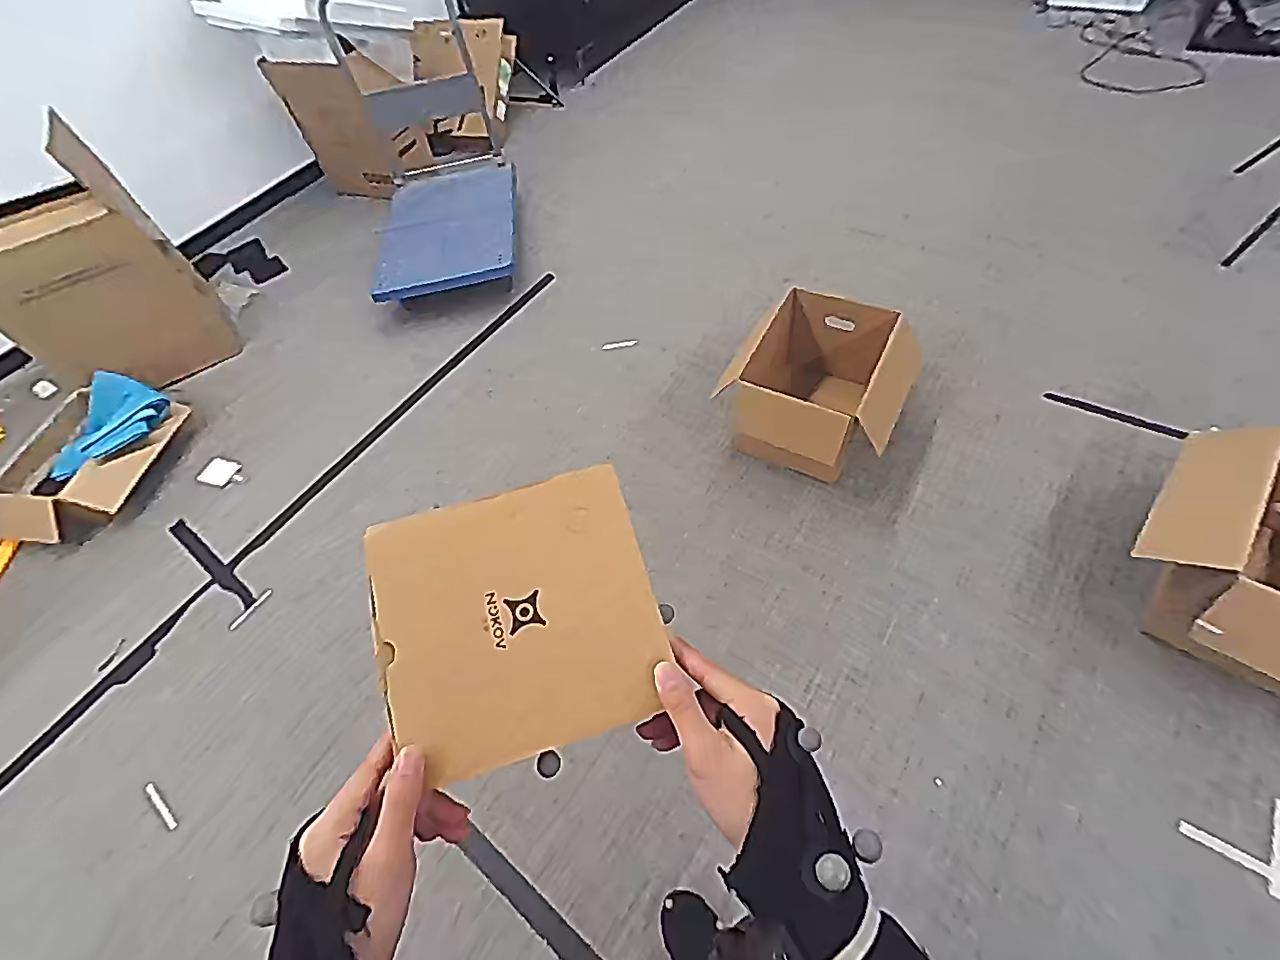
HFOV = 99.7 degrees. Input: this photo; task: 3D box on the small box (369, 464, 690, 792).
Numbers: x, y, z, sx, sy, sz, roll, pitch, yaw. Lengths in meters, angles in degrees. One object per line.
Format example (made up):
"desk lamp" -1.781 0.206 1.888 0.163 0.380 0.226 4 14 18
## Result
"small box" -0.075 0.109 0.417 0.179 0.176 0.168 -16 71 -6
